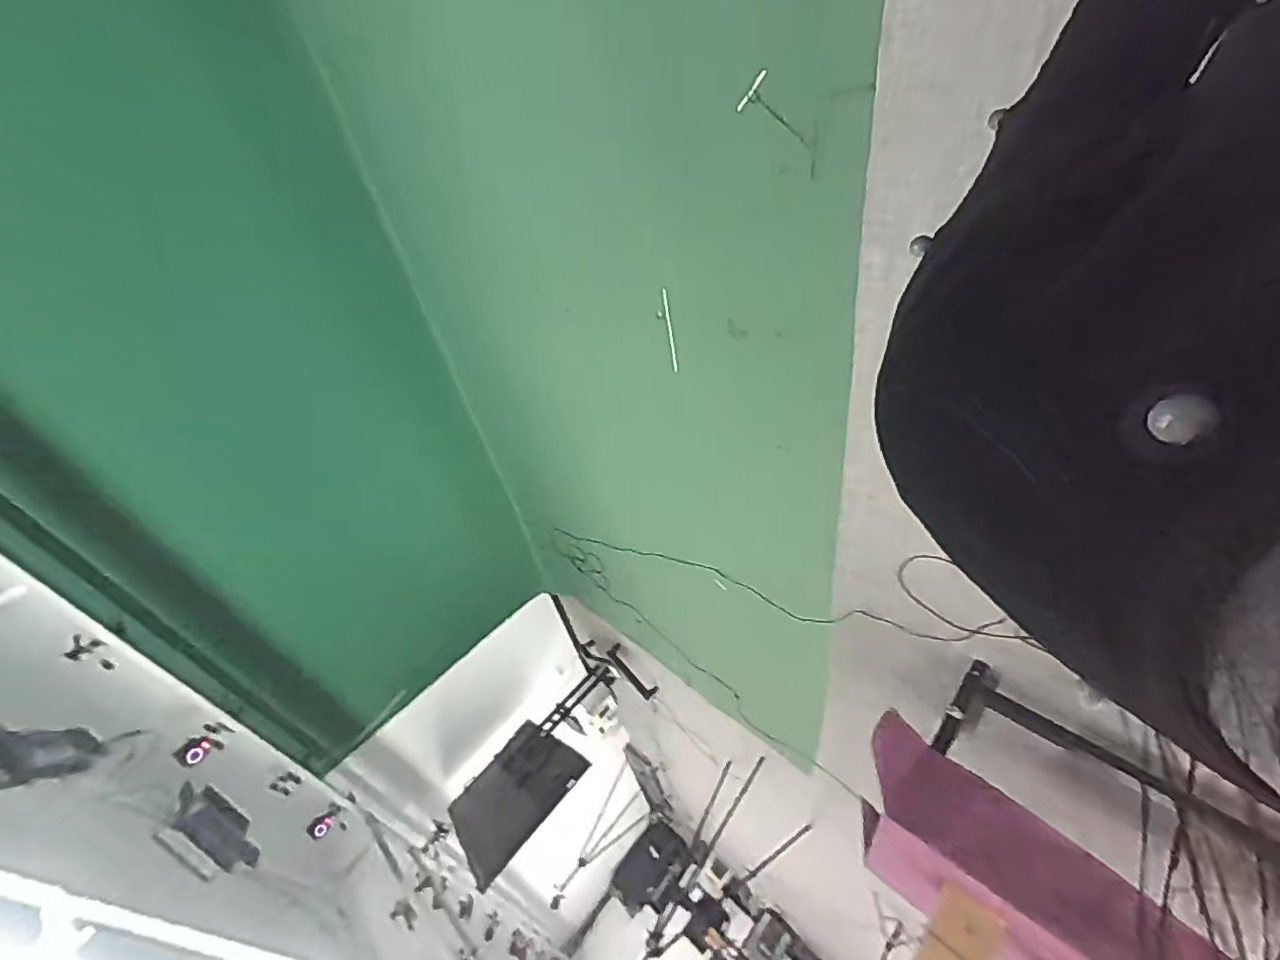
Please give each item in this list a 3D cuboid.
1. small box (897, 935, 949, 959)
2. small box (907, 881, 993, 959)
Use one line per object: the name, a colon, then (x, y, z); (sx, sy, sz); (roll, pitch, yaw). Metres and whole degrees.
small box: (0.842, 1.484, 1.584); (0.179, 0.176, 0.168); (25, 143, 37)
small box: (0.954, 1.395, 1.666); (0.179, 0.176, 0.168); (24, 141, 38)
